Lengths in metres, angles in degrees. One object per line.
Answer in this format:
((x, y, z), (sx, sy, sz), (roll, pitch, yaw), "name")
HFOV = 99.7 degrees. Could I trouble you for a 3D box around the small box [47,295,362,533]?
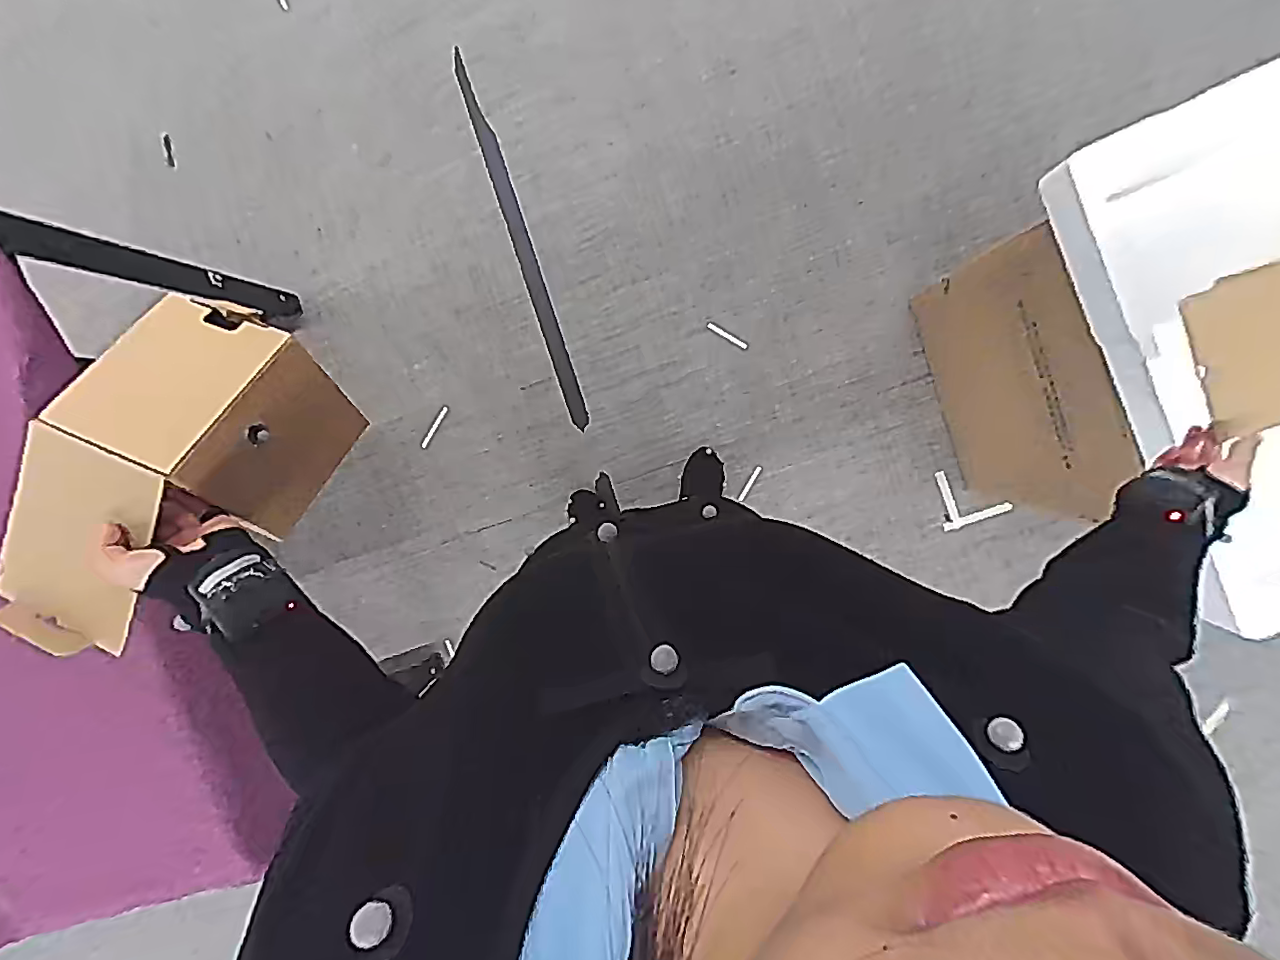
((-0.451, -0.064, 0.599), (0.168, 0.176, 0.179), (20, 65, 11), "small box")
